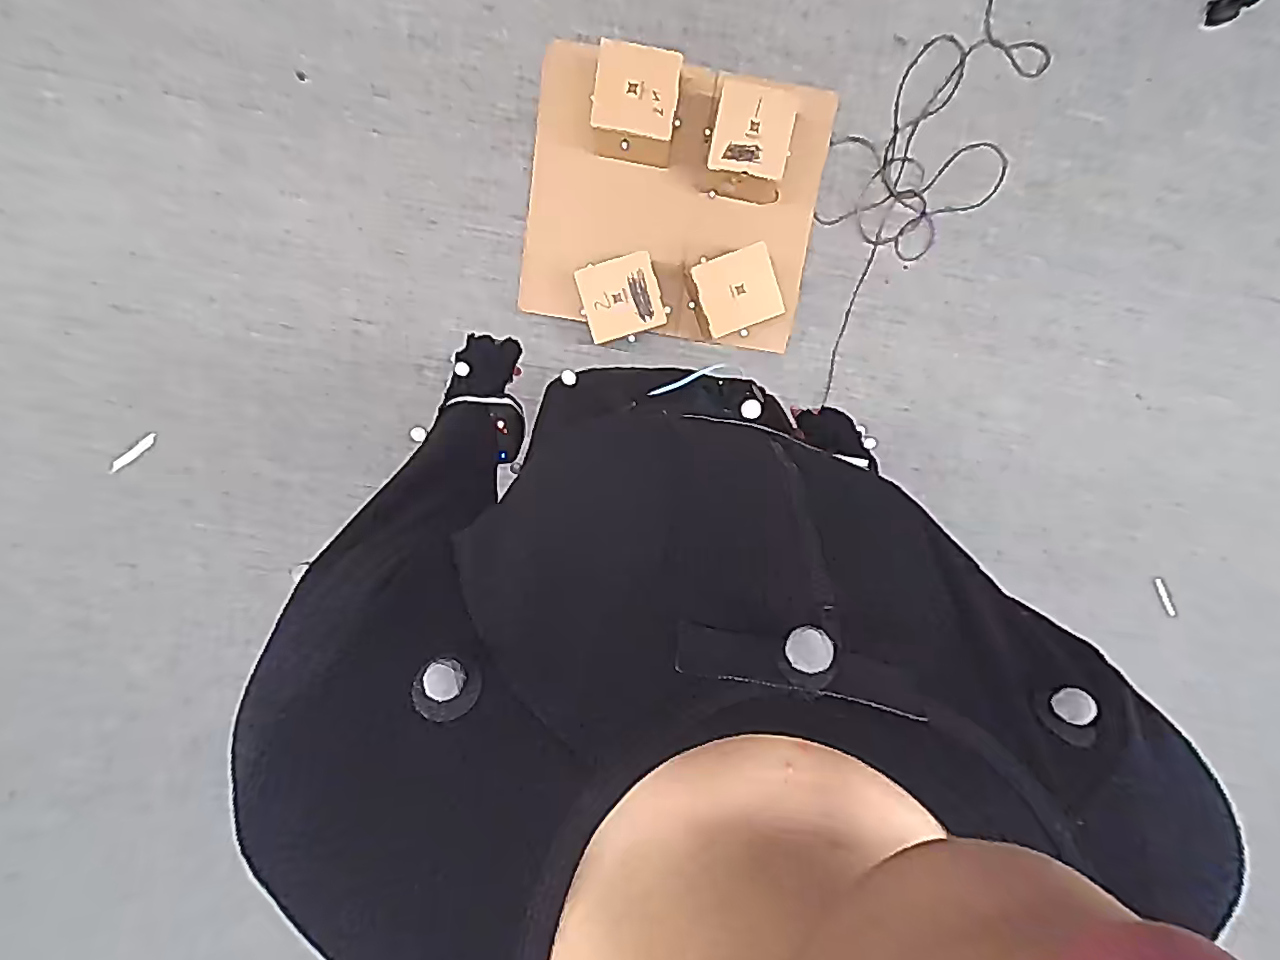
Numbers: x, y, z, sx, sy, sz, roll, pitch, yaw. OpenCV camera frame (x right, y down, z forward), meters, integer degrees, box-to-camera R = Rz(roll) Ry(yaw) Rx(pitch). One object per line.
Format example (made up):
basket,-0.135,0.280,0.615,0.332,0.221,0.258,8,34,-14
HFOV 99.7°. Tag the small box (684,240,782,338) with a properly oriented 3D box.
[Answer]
small box,0.217,-0.451,1.298,0.179,0.176,0.168,-20,101,5
